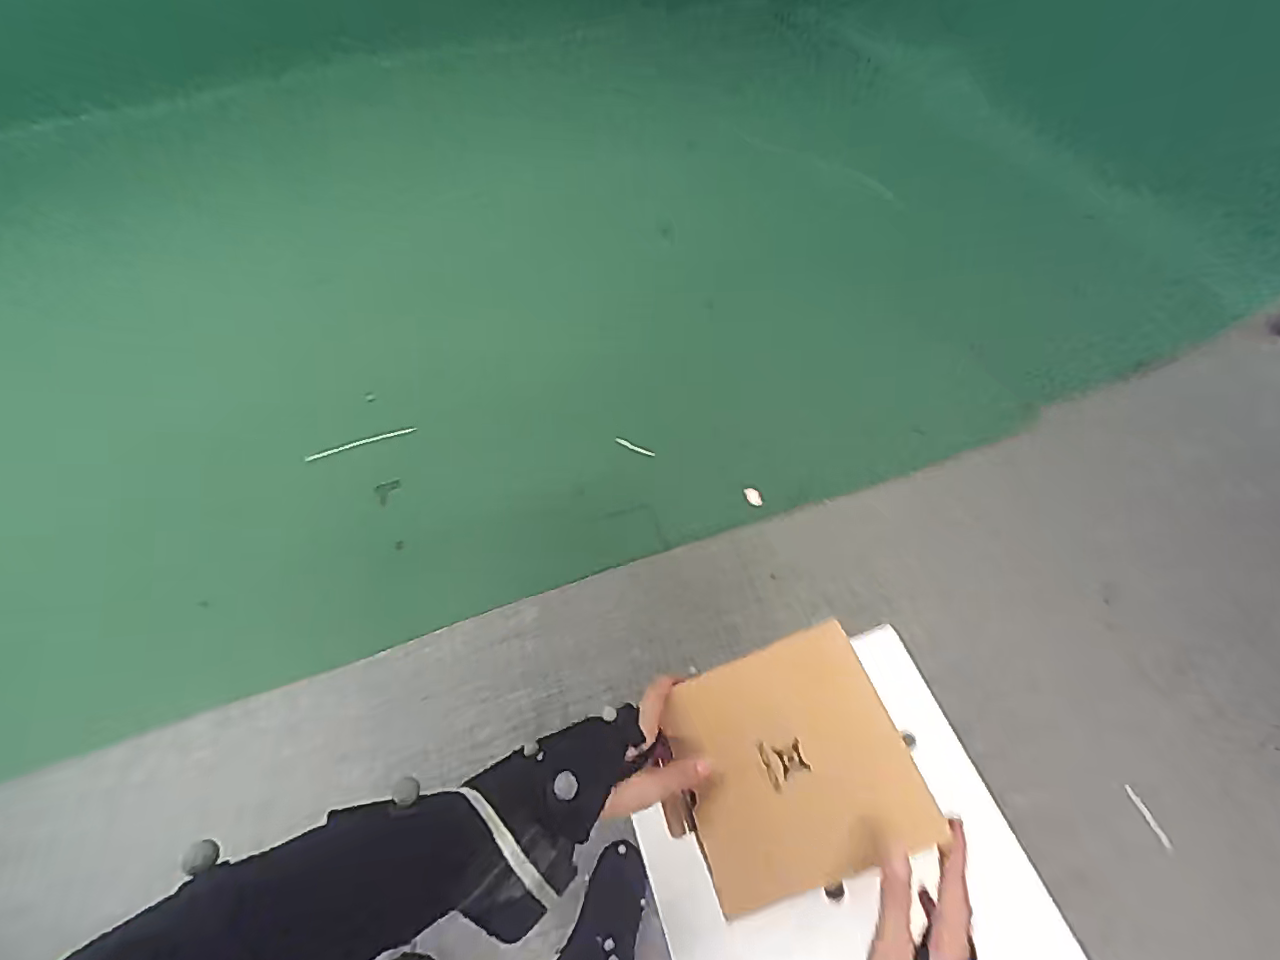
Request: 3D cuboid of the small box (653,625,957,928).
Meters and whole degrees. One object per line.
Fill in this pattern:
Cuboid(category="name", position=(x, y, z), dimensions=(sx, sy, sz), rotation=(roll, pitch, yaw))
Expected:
Cuboid(category="small box", position=(0.137, 0.247, 0.482), dimensions=(0.179, 0.176, 0.168), rotation=(-27, 62, 8))
